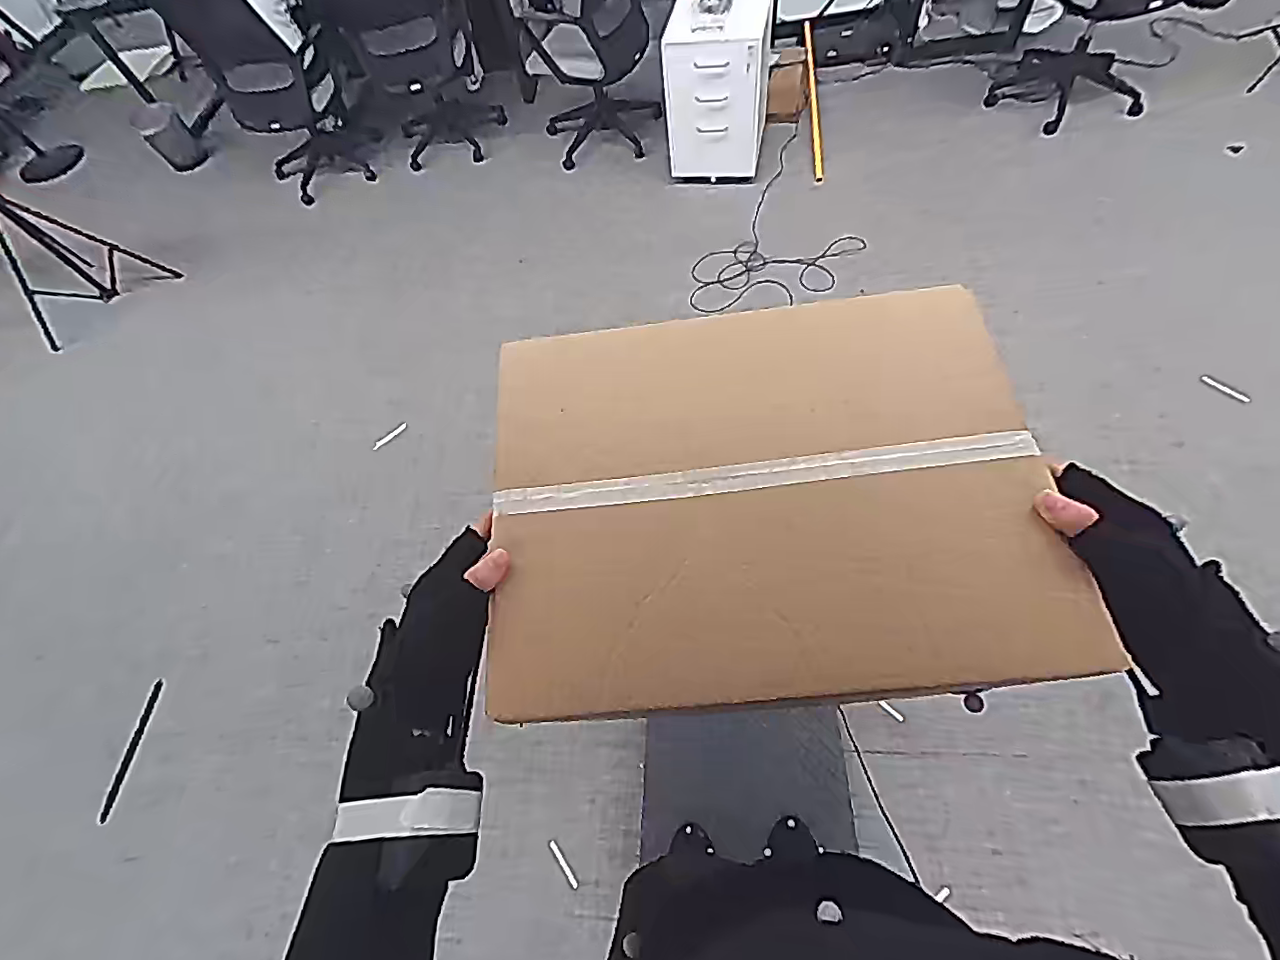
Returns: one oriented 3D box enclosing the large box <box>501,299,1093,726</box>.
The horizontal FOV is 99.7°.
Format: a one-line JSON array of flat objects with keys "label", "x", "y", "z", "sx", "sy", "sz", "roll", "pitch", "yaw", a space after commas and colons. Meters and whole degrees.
[{"label": "large box", "x": 0.105, "y": 0.064, "z": 0.557, "sx": 0.408, "sy": 0.320, "sz": 0.320, "roll": -7, "pitch": 65, "yaw": 4}]
